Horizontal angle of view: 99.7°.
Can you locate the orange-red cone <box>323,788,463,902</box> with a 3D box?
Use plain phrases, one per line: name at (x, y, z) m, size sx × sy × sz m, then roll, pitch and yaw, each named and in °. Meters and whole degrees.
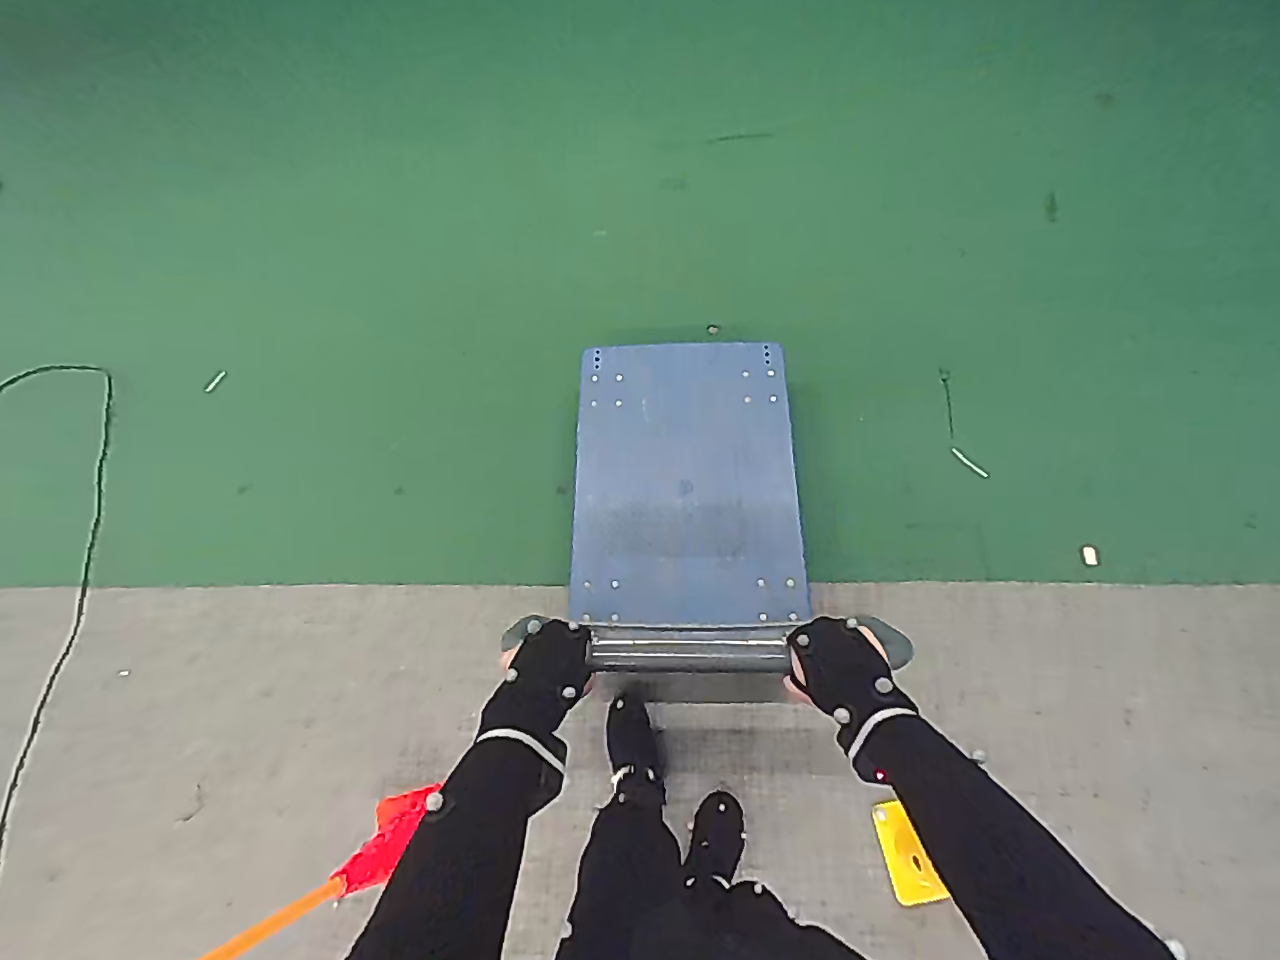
orange-red cone at (-0.541, 0.803, 1.135) m, size 0.199 × 0.360 × 0.198 m, roll -15°, pitch 68°, yaw -1°
